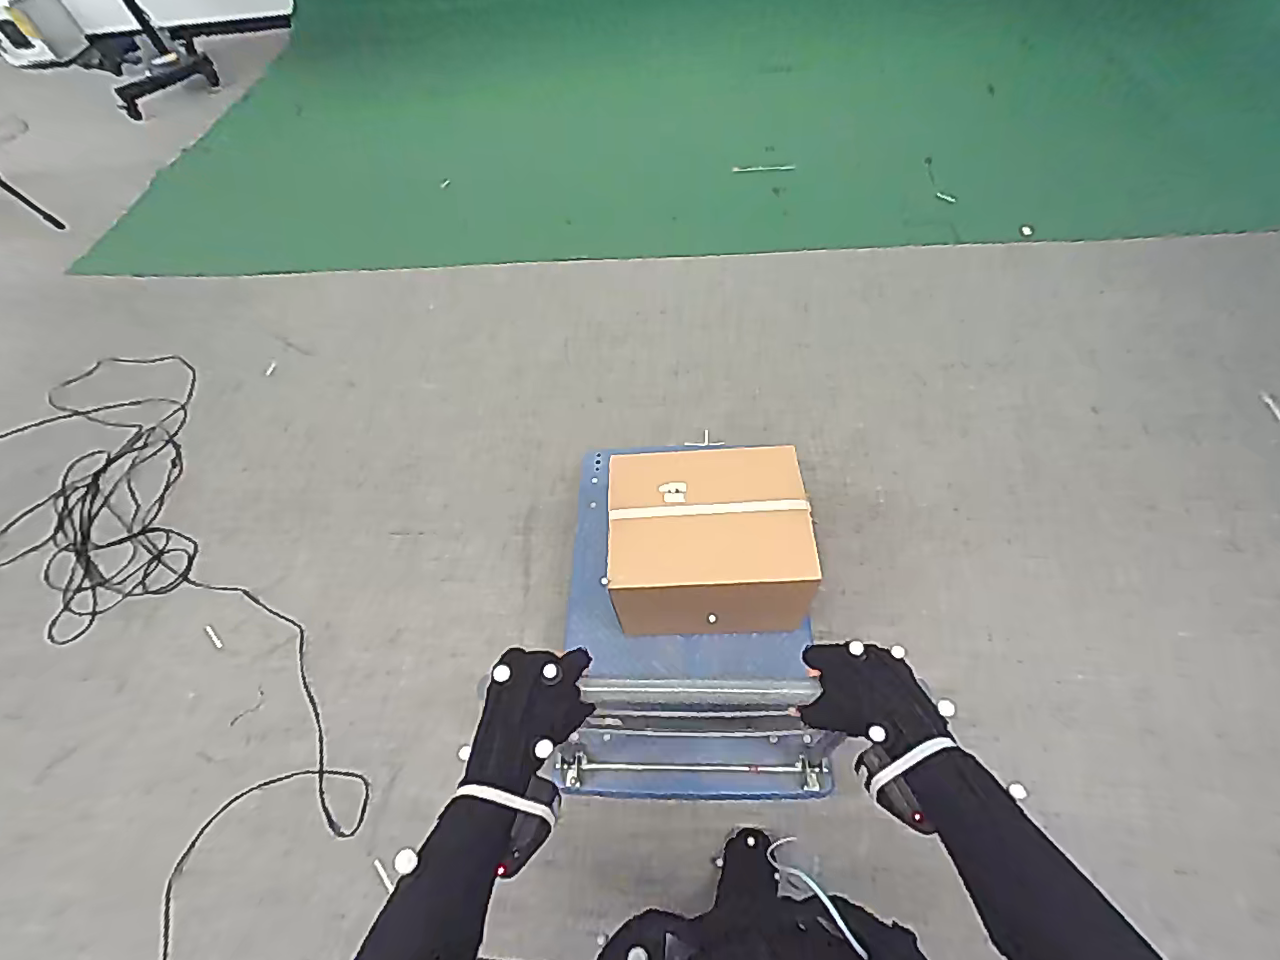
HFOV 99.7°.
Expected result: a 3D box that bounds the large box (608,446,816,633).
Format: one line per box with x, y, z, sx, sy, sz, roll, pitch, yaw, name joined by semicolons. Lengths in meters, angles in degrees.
0.149;0.149;1.237;0.408;0.320;0.320;-4;56;5;large box
